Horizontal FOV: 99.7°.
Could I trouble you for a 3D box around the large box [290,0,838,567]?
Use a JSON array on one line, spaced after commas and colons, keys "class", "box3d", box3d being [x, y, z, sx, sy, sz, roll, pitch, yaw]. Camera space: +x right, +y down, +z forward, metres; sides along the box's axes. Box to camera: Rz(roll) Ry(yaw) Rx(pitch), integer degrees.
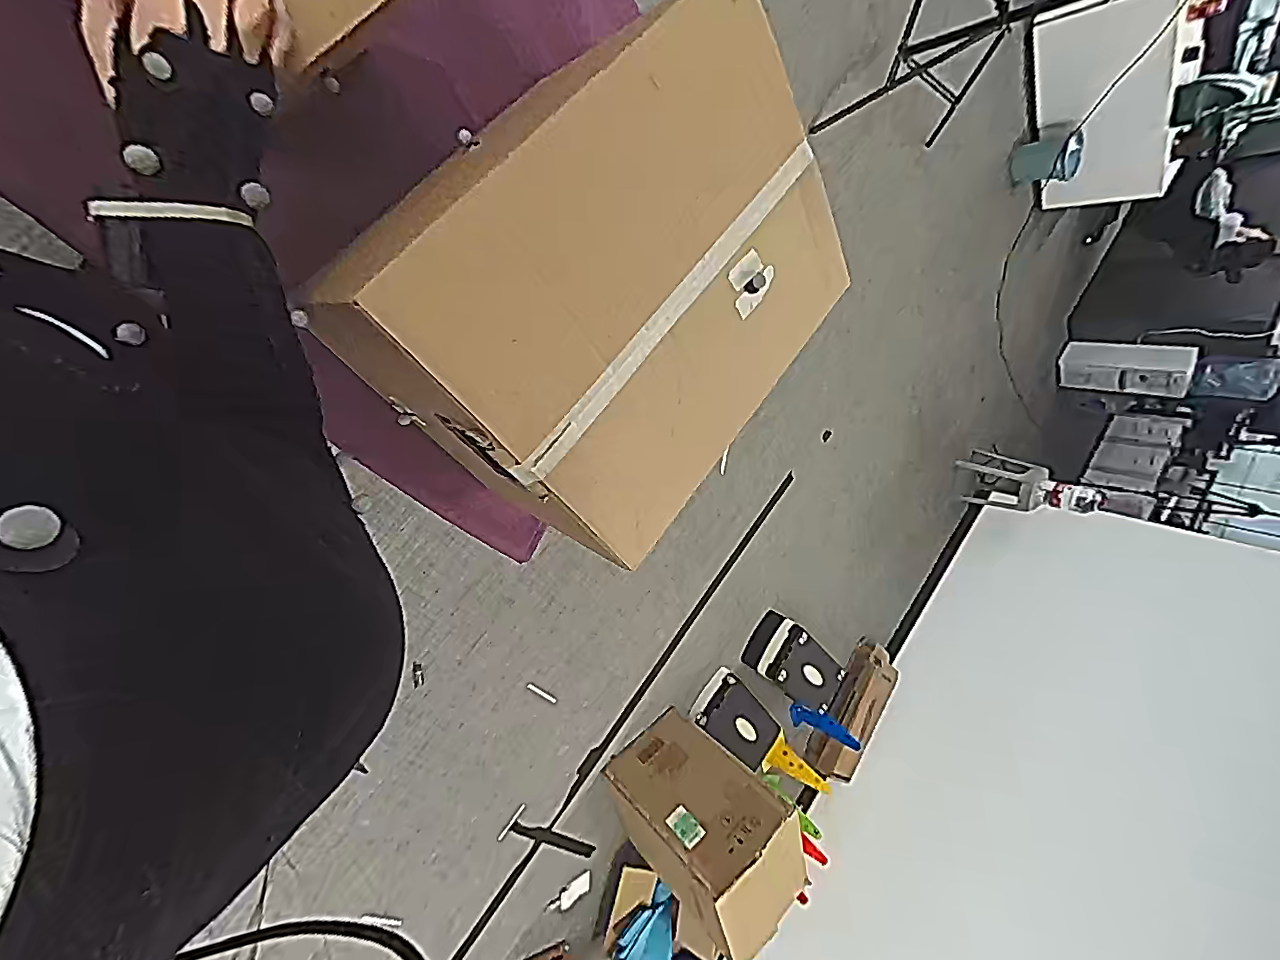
[{"class": "large box", "box3d": [-0.065, -0.191, 0.563, 0.408, 0.320, 0.320, -53, 131, -16]}]
